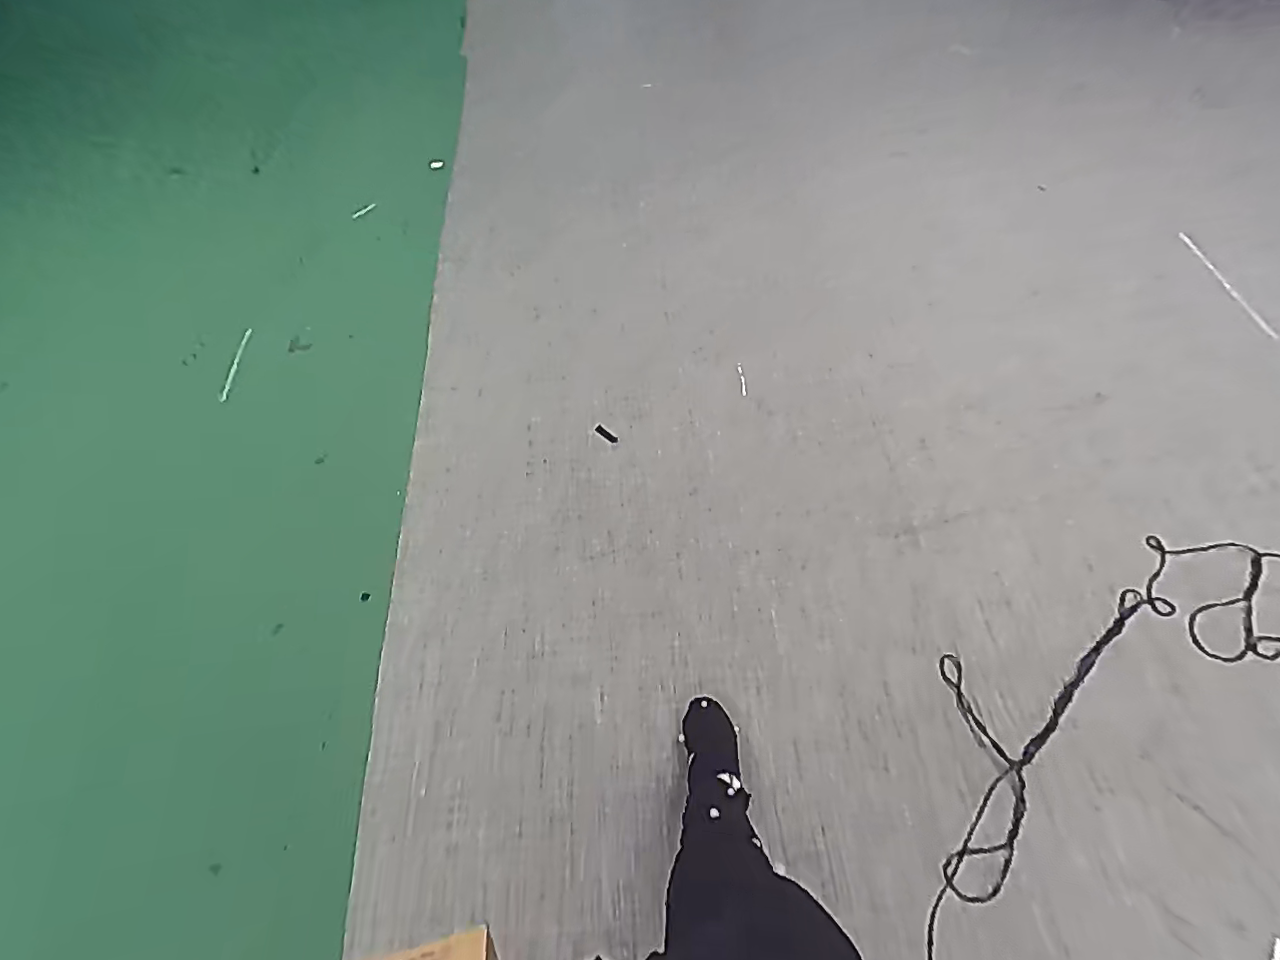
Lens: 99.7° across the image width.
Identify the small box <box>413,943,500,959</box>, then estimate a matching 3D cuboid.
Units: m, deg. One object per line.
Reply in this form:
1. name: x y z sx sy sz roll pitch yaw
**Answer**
1. small box: -0.226 0.652 0.580 0.168 0.176 0.179 -12 104 -11
